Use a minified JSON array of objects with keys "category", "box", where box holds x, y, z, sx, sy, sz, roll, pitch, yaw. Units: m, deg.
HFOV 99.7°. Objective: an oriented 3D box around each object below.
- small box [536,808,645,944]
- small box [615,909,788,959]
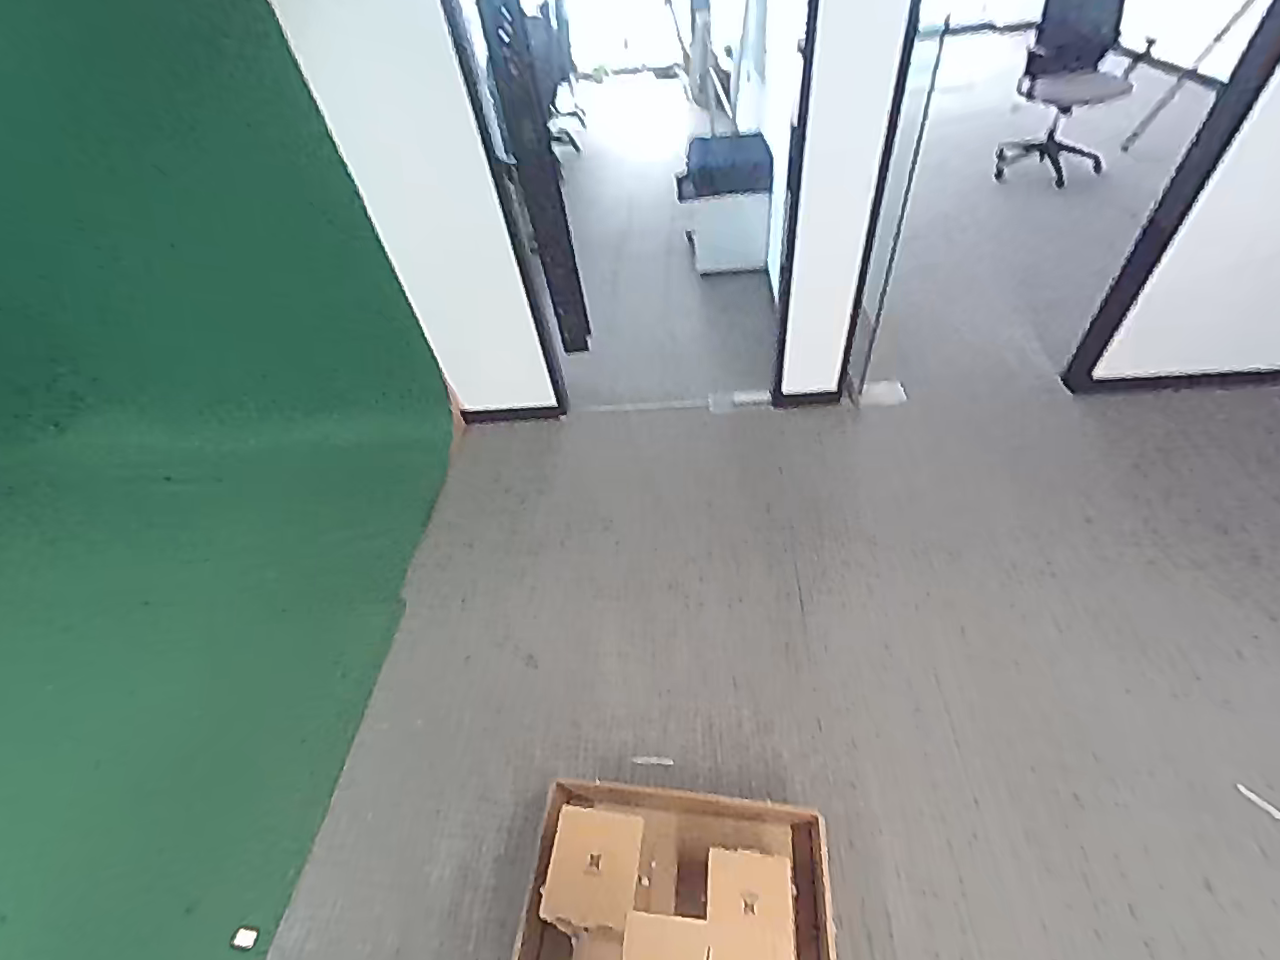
[{"category":"small box","box":[-0.084,0.761,1.038,0.168,0.176,0.179,3,46,9]},{"category":"small box","box":[0.050,0.548,0.506,0.168,0.176,0.179,5,32,3]}]
